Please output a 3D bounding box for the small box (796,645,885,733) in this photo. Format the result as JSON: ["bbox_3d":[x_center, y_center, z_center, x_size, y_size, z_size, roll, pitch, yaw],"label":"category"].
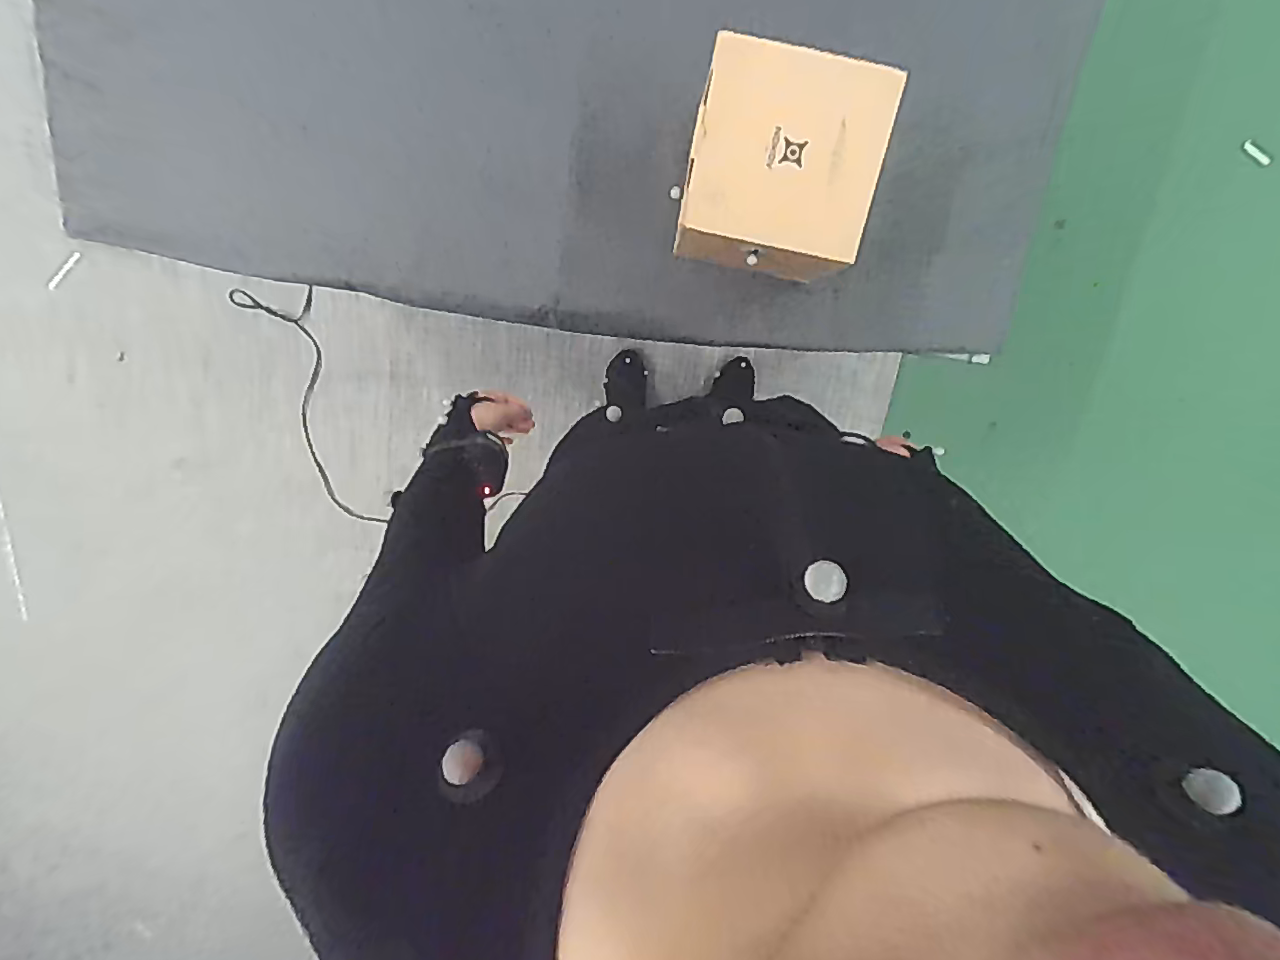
[{"bbox_3d":[0.540,0.580,1.484,0.168,0.176,0.179,10,106,1],"label":"small box"}]

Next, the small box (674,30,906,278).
[{"bbox_3d":[0.135,-0.317,0.567,0.179,0.176,0.168,11,105,-1],"label":"small box"}]
